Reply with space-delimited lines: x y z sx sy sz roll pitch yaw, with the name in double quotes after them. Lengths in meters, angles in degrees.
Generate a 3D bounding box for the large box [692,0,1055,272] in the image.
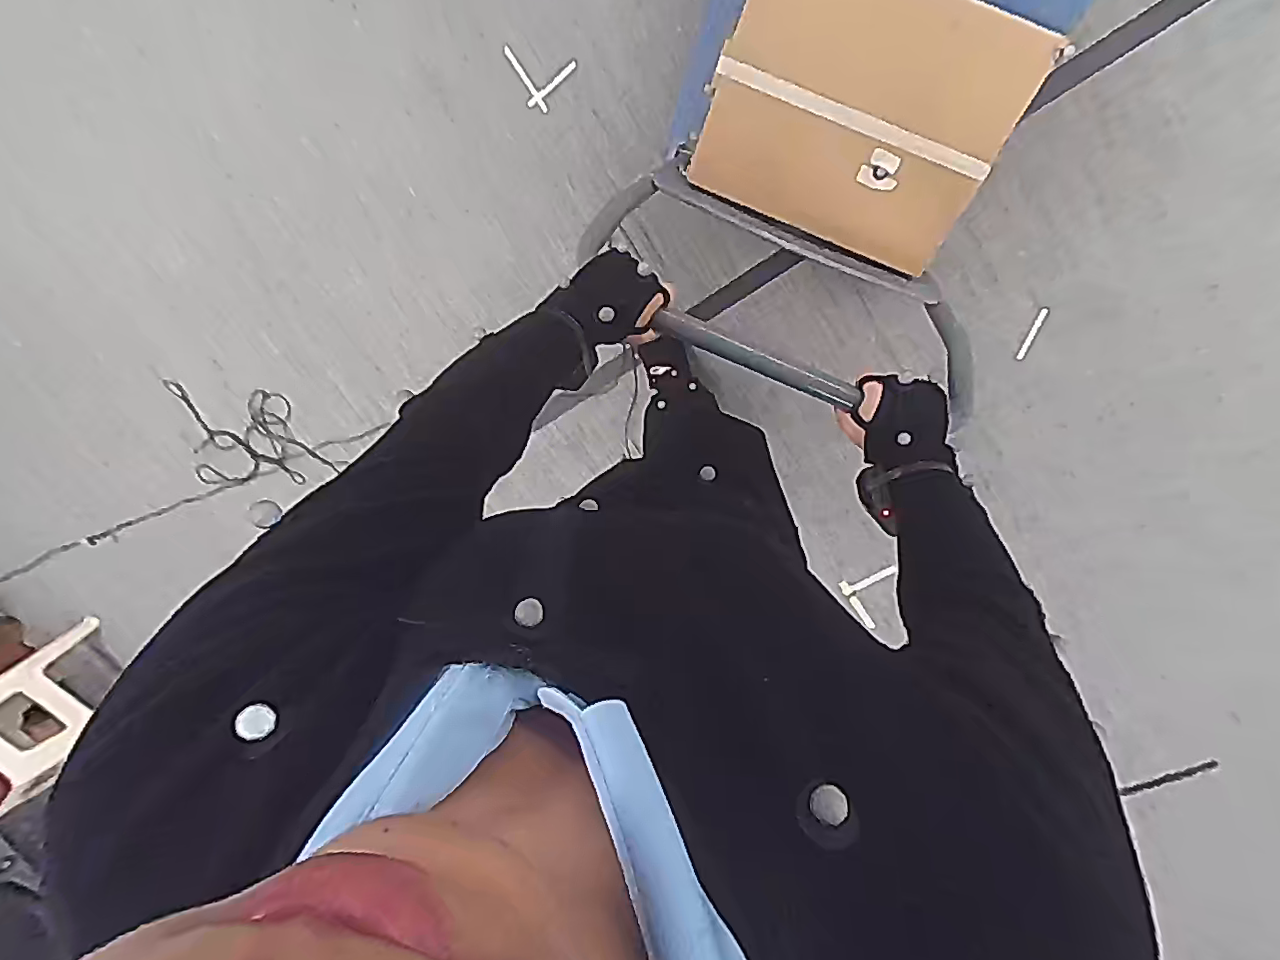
0.339 -0.599 0.905 0.408 0.320 0.320 22 126 0 "large box"
